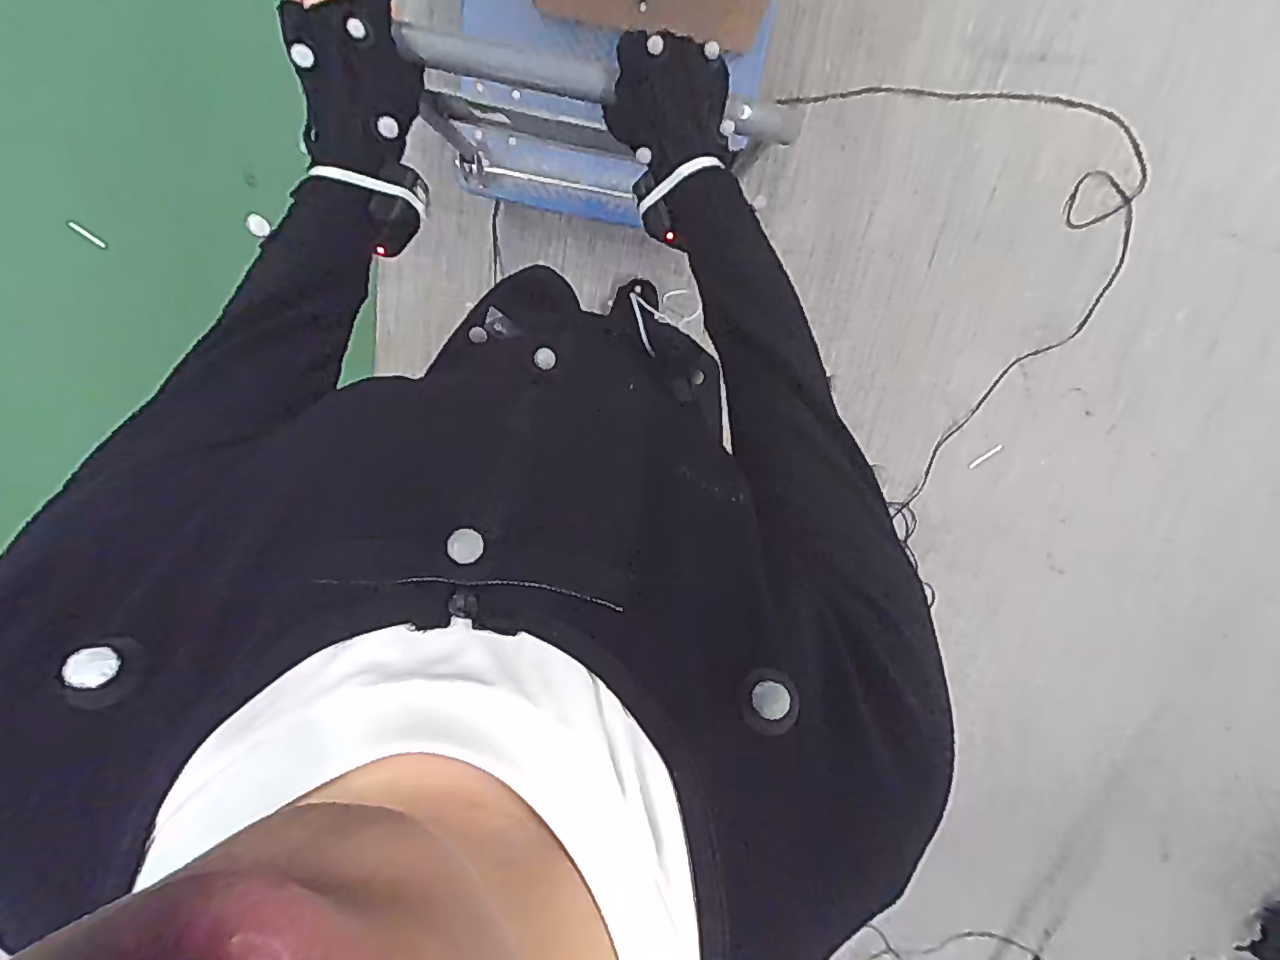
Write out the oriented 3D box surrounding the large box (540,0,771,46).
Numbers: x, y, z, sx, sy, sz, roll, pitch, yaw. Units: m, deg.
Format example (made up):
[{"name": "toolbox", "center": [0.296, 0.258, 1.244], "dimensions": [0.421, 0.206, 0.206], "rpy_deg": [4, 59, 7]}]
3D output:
[{"name": "large box", "center": [0.032, -0.937, 0.835], "dimensions": [0.408, 0.320, 0.320], "rpy_deg": [9, 110, -1]}]
